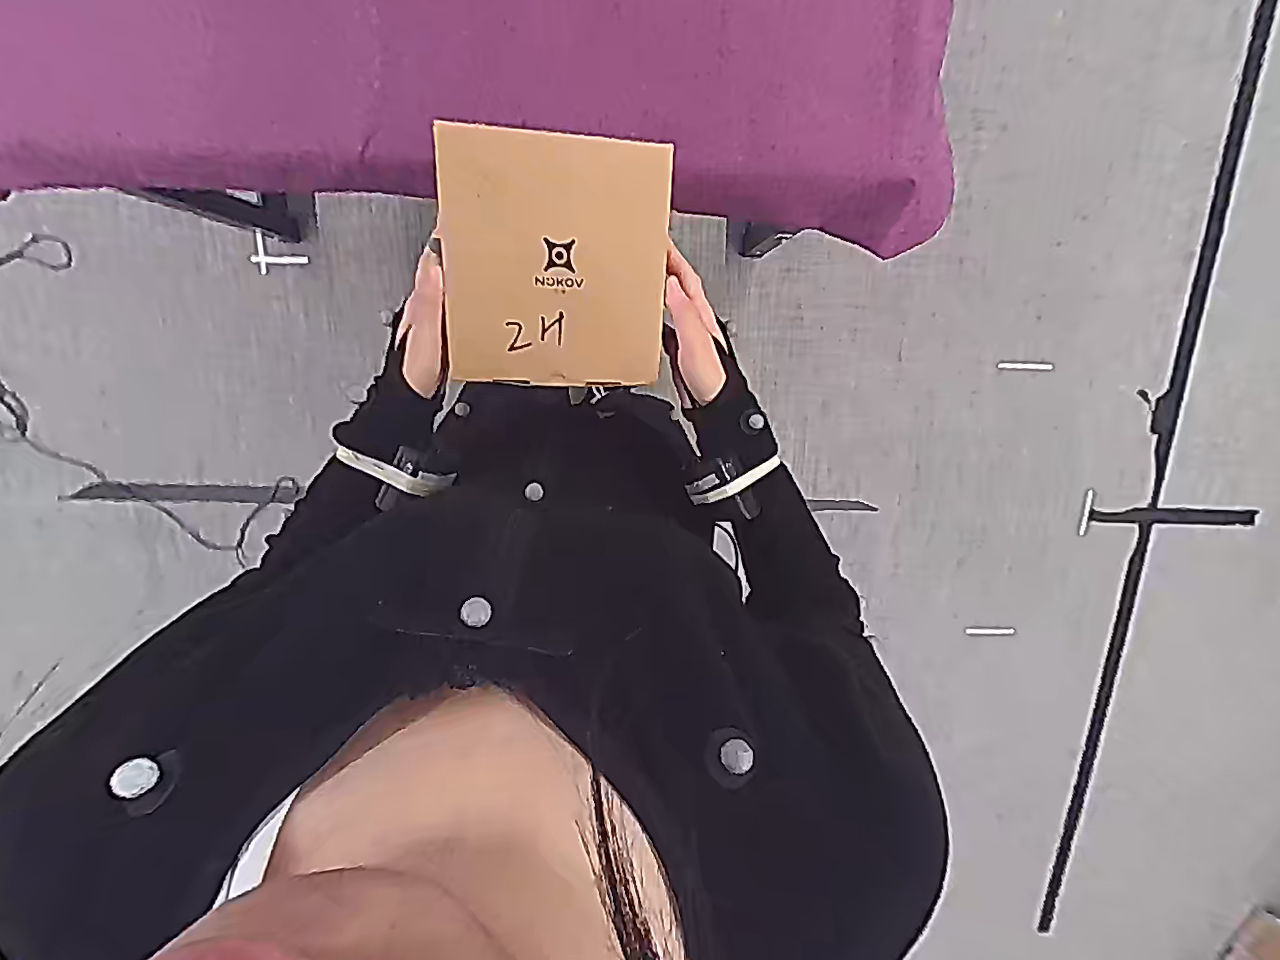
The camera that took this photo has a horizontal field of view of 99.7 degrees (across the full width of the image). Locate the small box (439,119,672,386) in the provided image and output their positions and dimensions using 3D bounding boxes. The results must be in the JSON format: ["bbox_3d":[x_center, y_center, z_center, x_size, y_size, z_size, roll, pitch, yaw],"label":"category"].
[{"bbox_3d":[-0.075,-0.184,0.476,0.168,0.176,0.179,0,109,-10],"label":"small box"}]
